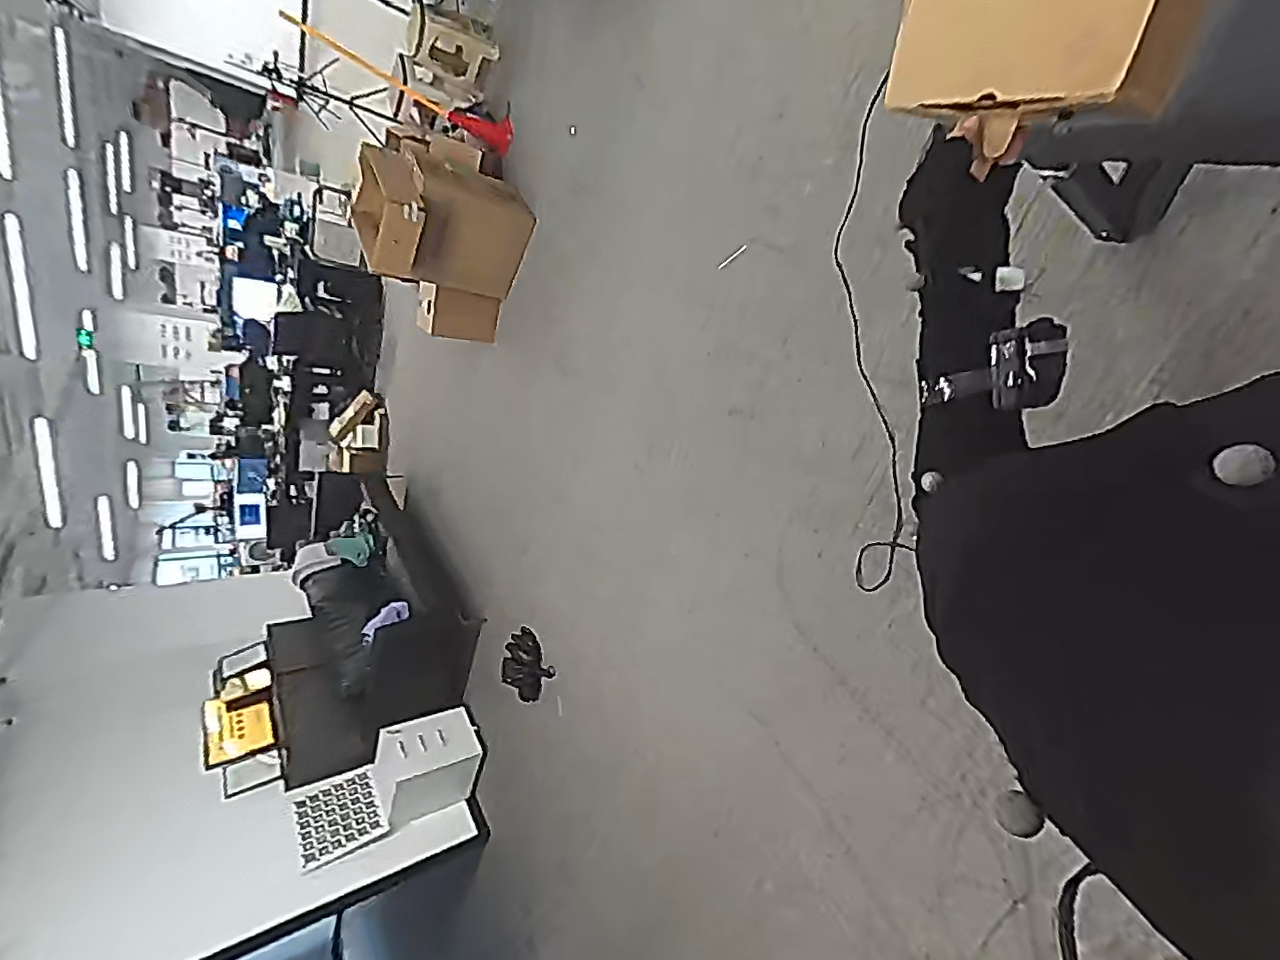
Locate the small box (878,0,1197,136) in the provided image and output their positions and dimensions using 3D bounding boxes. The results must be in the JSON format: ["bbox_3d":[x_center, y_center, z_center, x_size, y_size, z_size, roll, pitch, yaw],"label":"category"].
[{"bbox_3d":[0.319,-0.376,0.421,0.168,0.176,0.179,28,127,39],"label":"small box"}]
